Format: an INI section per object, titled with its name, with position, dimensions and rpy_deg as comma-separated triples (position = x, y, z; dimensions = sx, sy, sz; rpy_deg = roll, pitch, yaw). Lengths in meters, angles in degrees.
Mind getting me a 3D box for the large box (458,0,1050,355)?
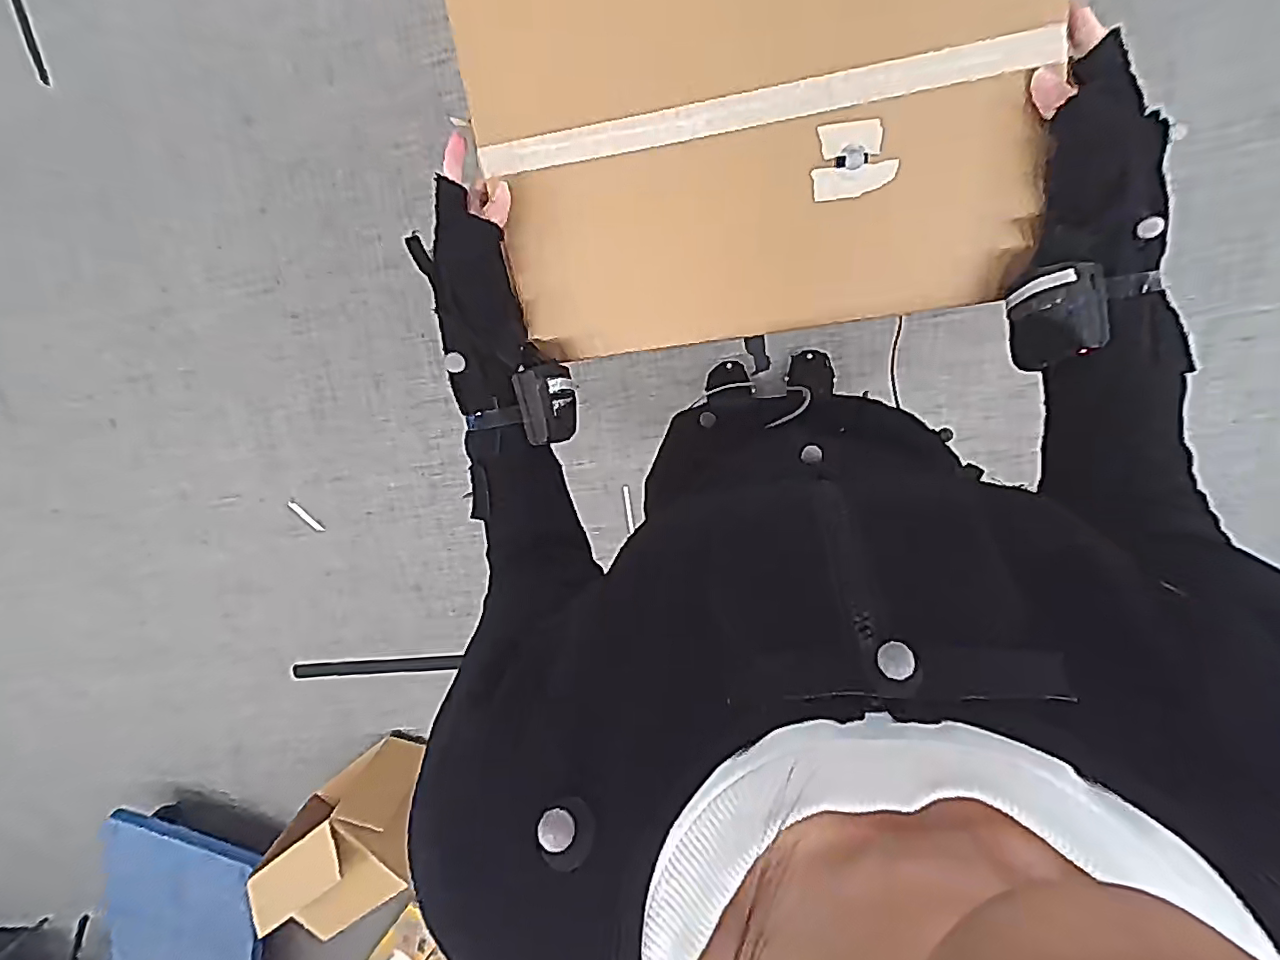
[large box]
position = 0.092, -0.327, 0.534
dimensions = 0.408, 0.320, 0.320
rpy_deg = -7, 111, 7
